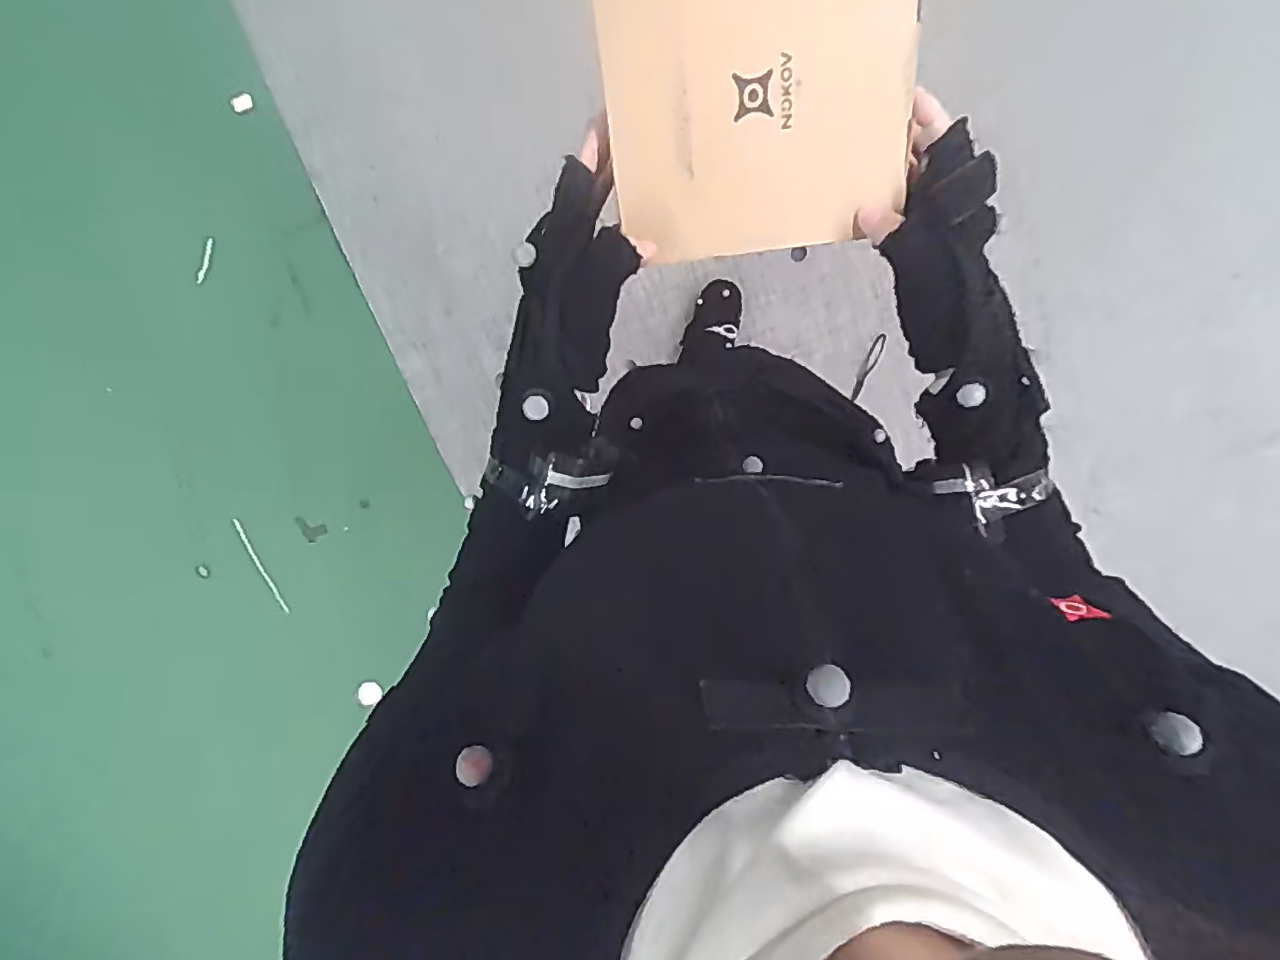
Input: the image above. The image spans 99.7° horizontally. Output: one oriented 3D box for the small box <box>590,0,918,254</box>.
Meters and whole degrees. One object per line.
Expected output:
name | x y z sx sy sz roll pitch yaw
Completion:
small box | 0.065 -0.260 0.373 0.179 0.176 0.168 -7 115 4
